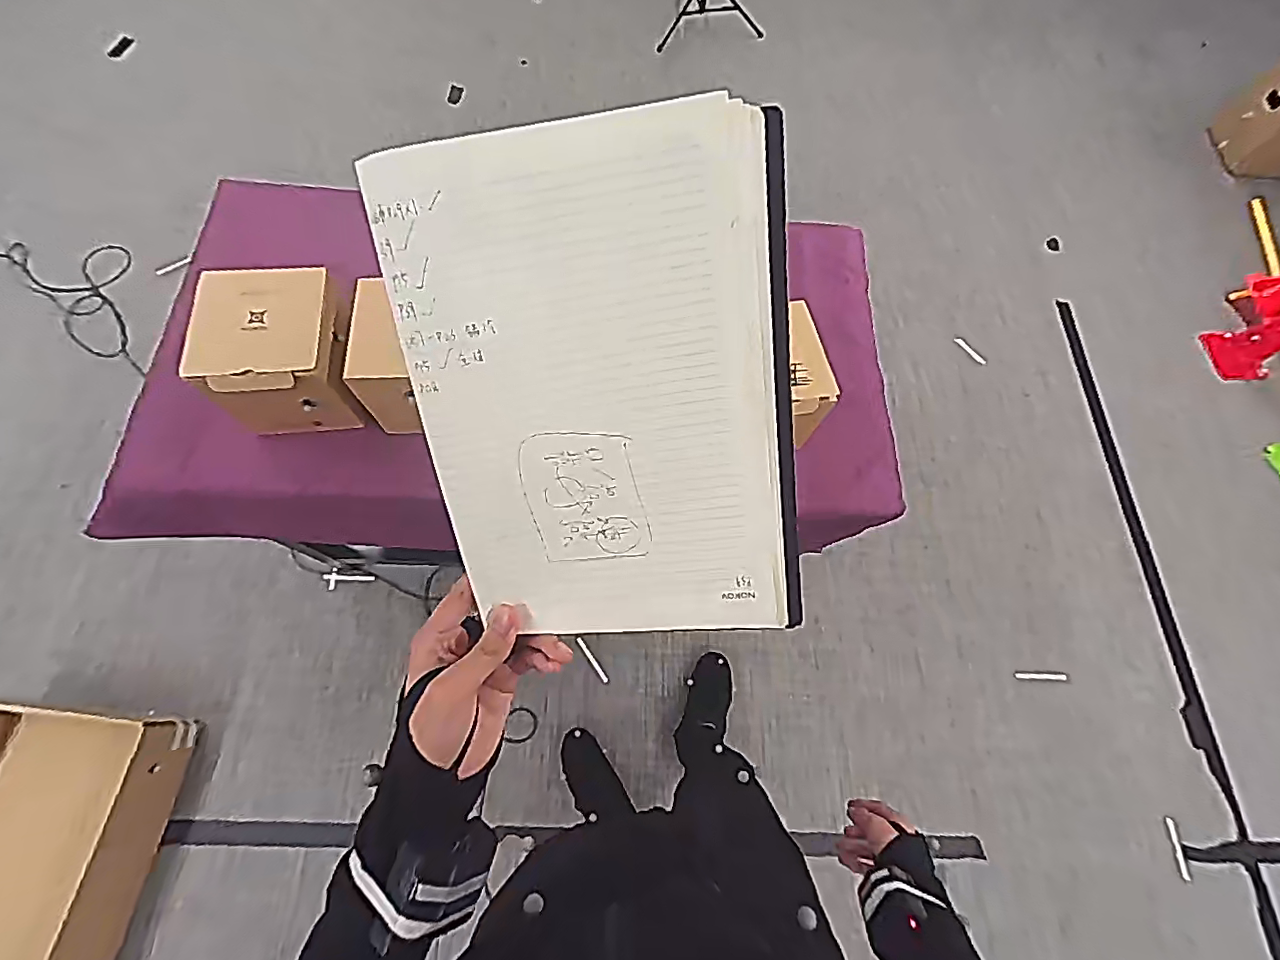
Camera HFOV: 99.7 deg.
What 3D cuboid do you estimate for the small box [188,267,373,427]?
[{"bbox_3d":[-0.514,-0.187,0.802,0.168,0.176,0.179,-4,69,-7],"label":"small box"}]
